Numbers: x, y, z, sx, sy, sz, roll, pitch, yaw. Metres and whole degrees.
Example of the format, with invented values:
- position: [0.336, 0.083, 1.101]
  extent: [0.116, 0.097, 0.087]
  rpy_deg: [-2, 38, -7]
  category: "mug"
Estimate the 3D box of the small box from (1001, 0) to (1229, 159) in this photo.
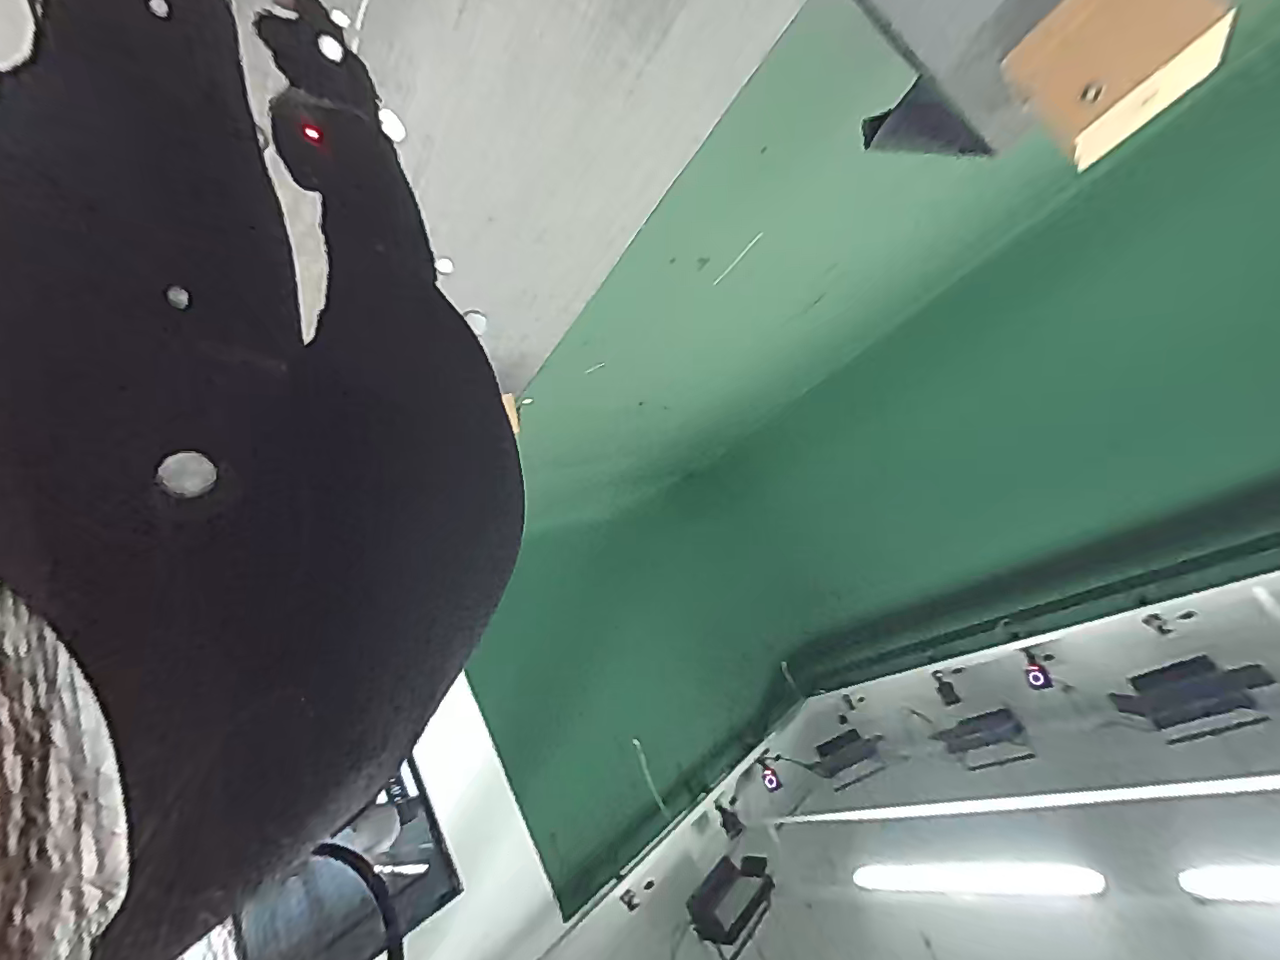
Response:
- position: [0.664, -0.615, 0.775]
  extent: [0.168, 0.176, 0.179]
  rpy_deg: [-13, 160, -48]
  category: "small box"
